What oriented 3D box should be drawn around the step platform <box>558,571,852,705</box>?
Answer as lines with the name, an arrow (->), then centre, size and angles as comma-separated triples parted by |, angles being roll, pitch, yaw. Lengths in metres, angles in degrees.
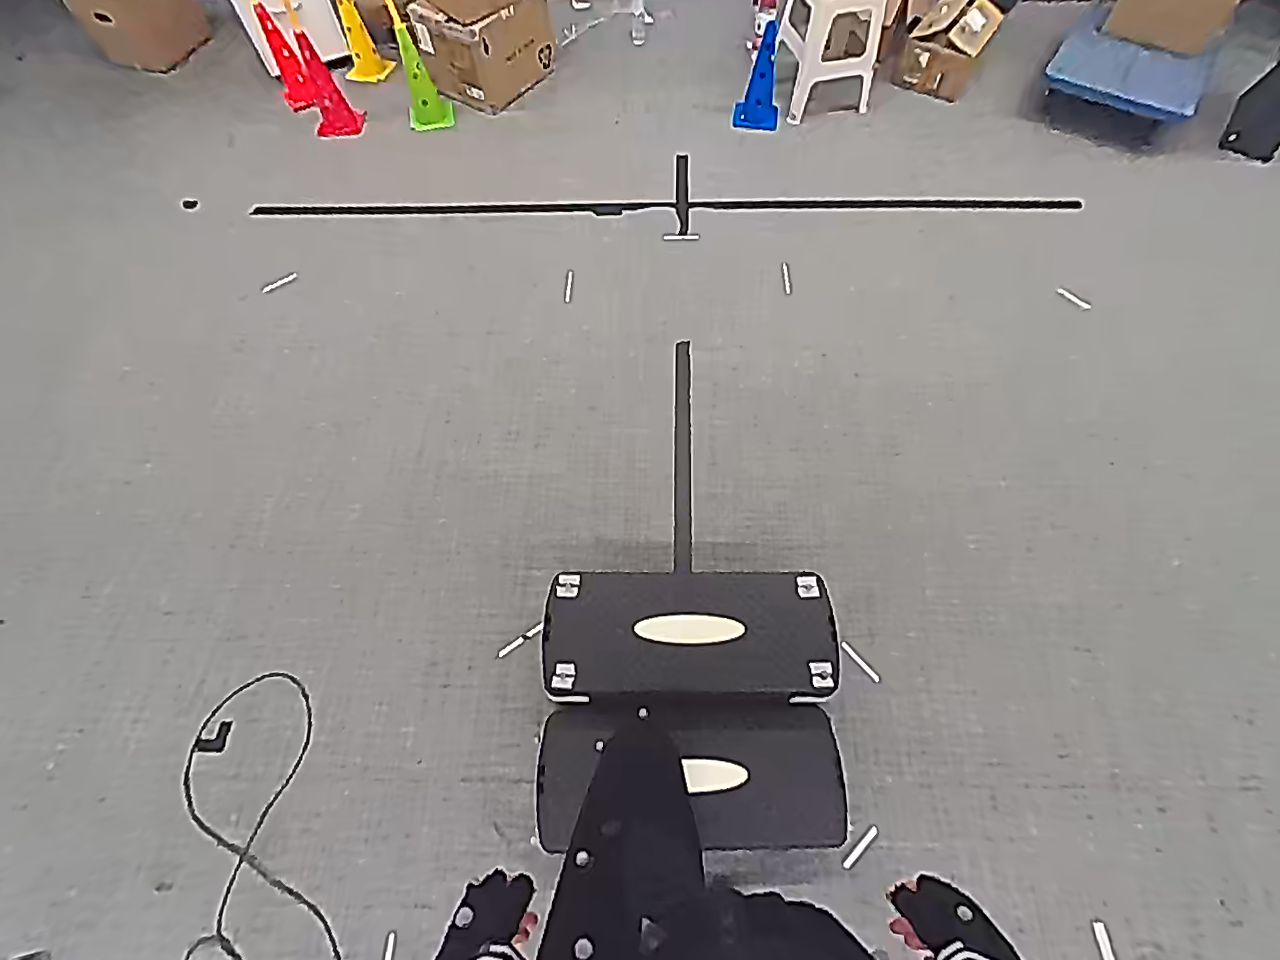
step platform -> 0.146, 0.379, 1.307 | 0.684, 0.204, 0.286 | 0, 62, 0
